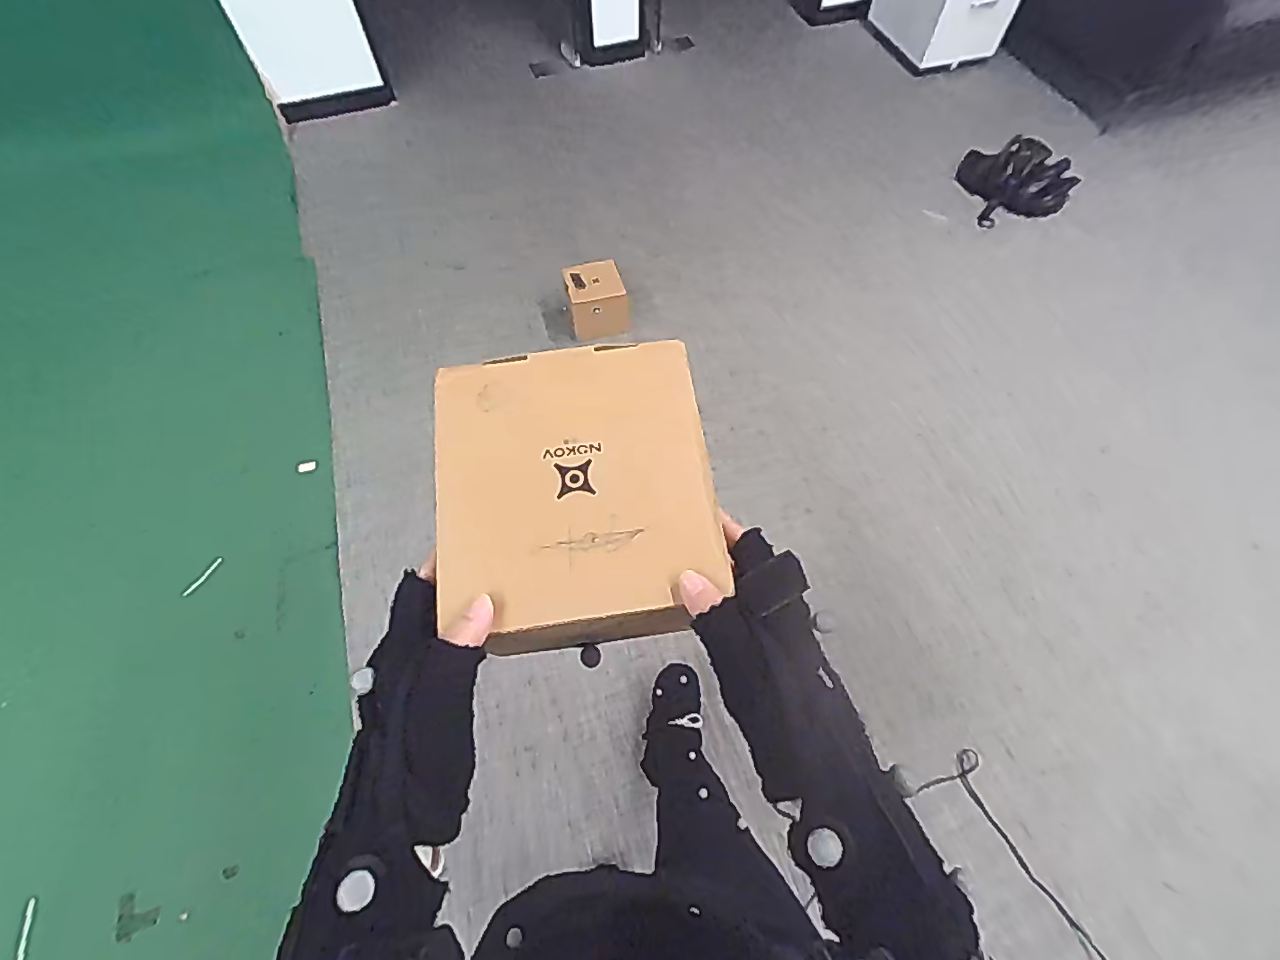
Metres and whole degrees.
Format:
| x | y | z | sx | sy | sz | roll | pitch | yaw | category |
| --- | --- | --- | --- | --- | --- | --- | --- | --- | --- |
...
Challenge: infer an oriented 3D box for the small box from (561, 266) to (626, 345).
| x | y | z | sx | sy | sz | roll | pitch | yaw | category |
| --- | --- | --- | --- | --- | --- | --- | --- | --- | --- |
| -0.151 | -0.571 | 1.789 | 0.179 | 0.176 | 0.168 | -14 | 63 | -8 | small box |

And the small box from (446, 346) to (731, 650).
| x | y | z | sx | sy | sz | roll | pitch | yaw | category |
| --- | --- | --- | --- | --- | --- | --- | --- | --- | --- |
| -0.039 | 0.025 | 0.413 | 0.168 | 0.176 | 0.179 | -7 | 69 | -3 | small box |
